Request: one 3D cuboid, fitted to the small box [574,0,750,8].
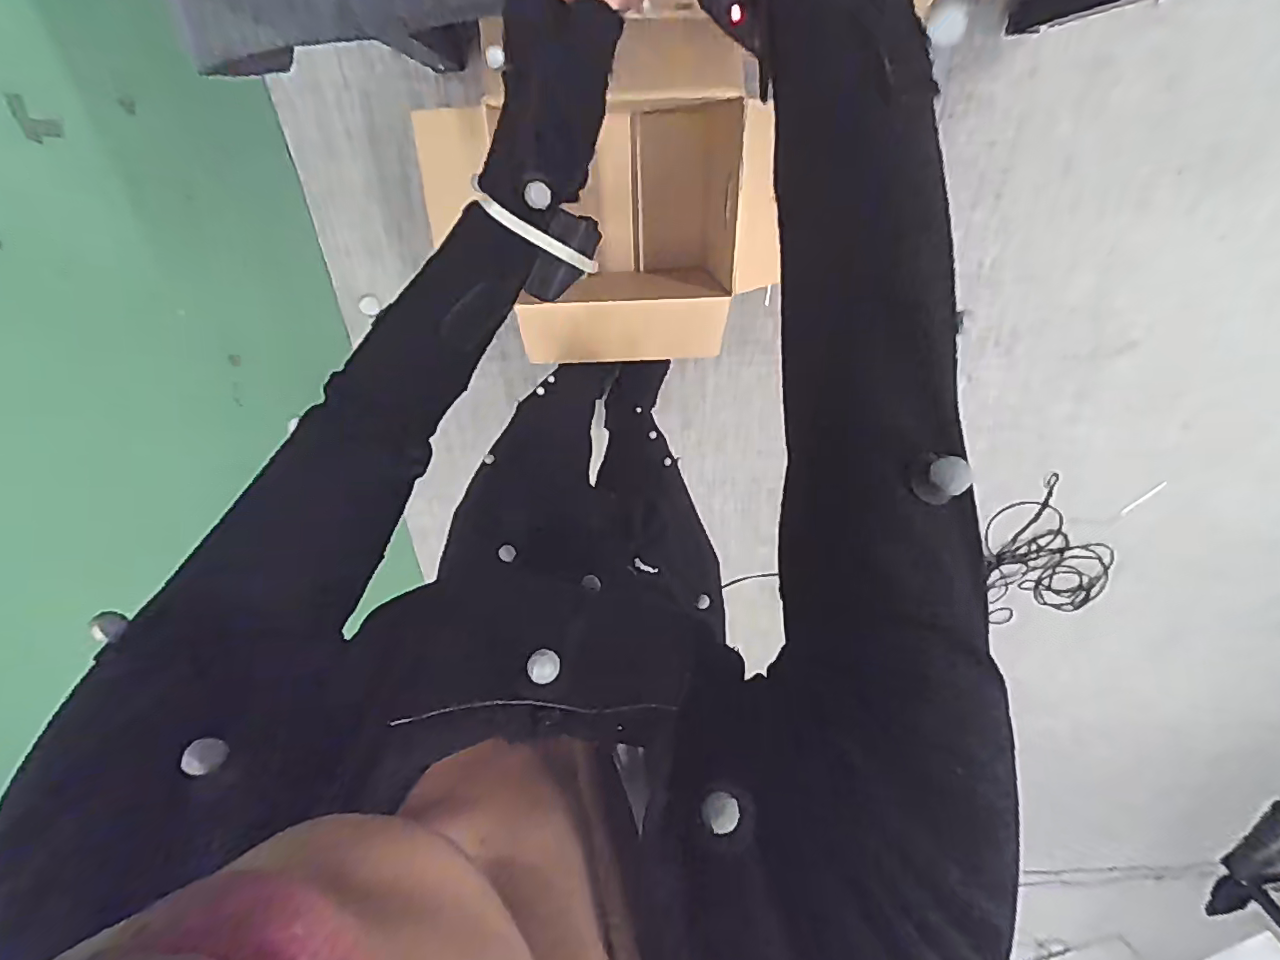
[{"bbox_3d":[0.019,-0.421,0.322,0.168,0.176,0.179,-3,118,-2],"label":"small box"}]
